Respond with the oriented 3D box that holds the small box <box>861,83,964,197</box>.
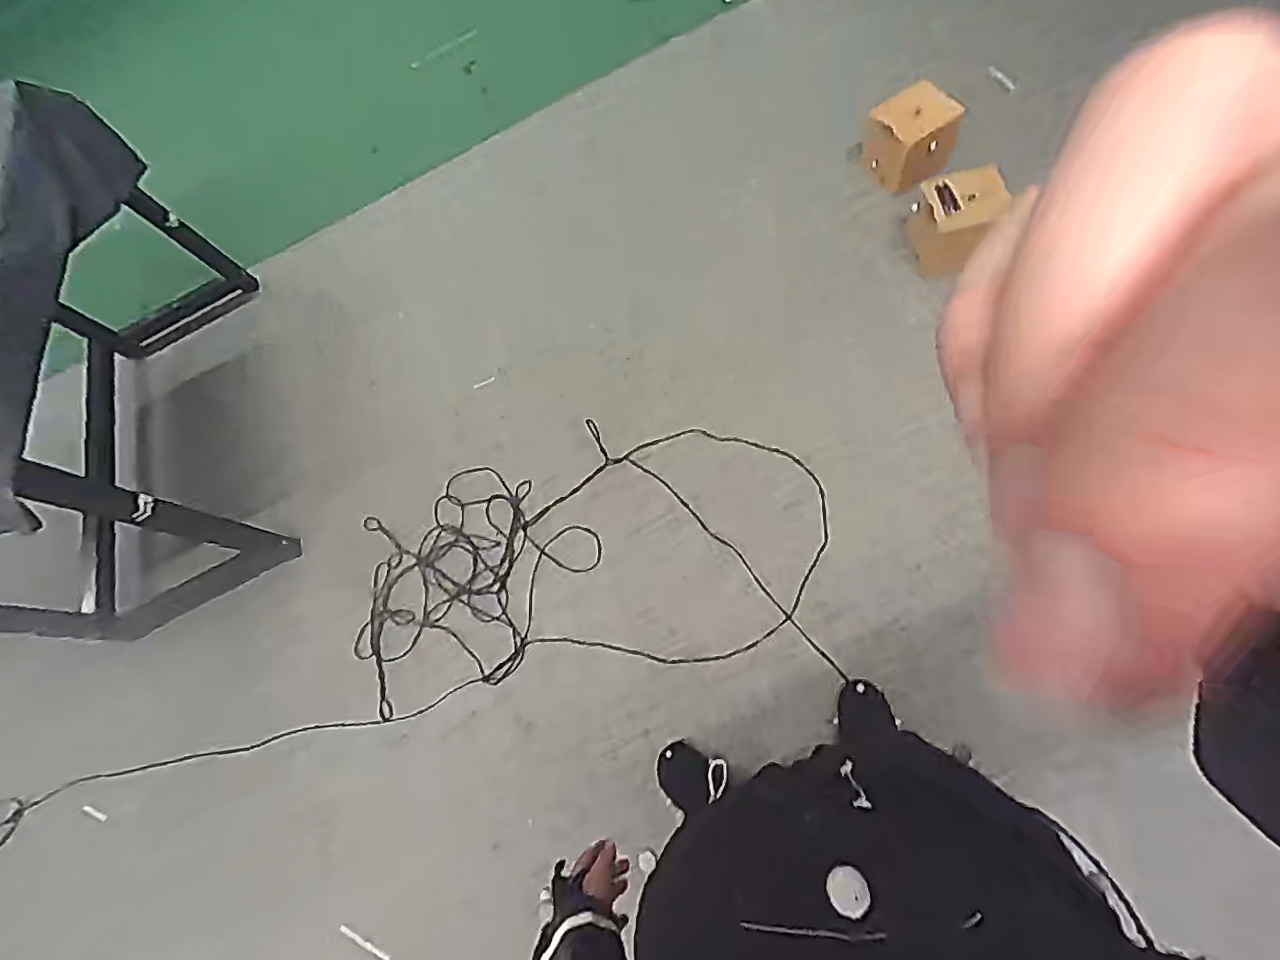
[{"bbox_3d":[0.739,-0.932,1.492,0.179,0.176,0.168,-31,66,1],"label":"small box"}]
